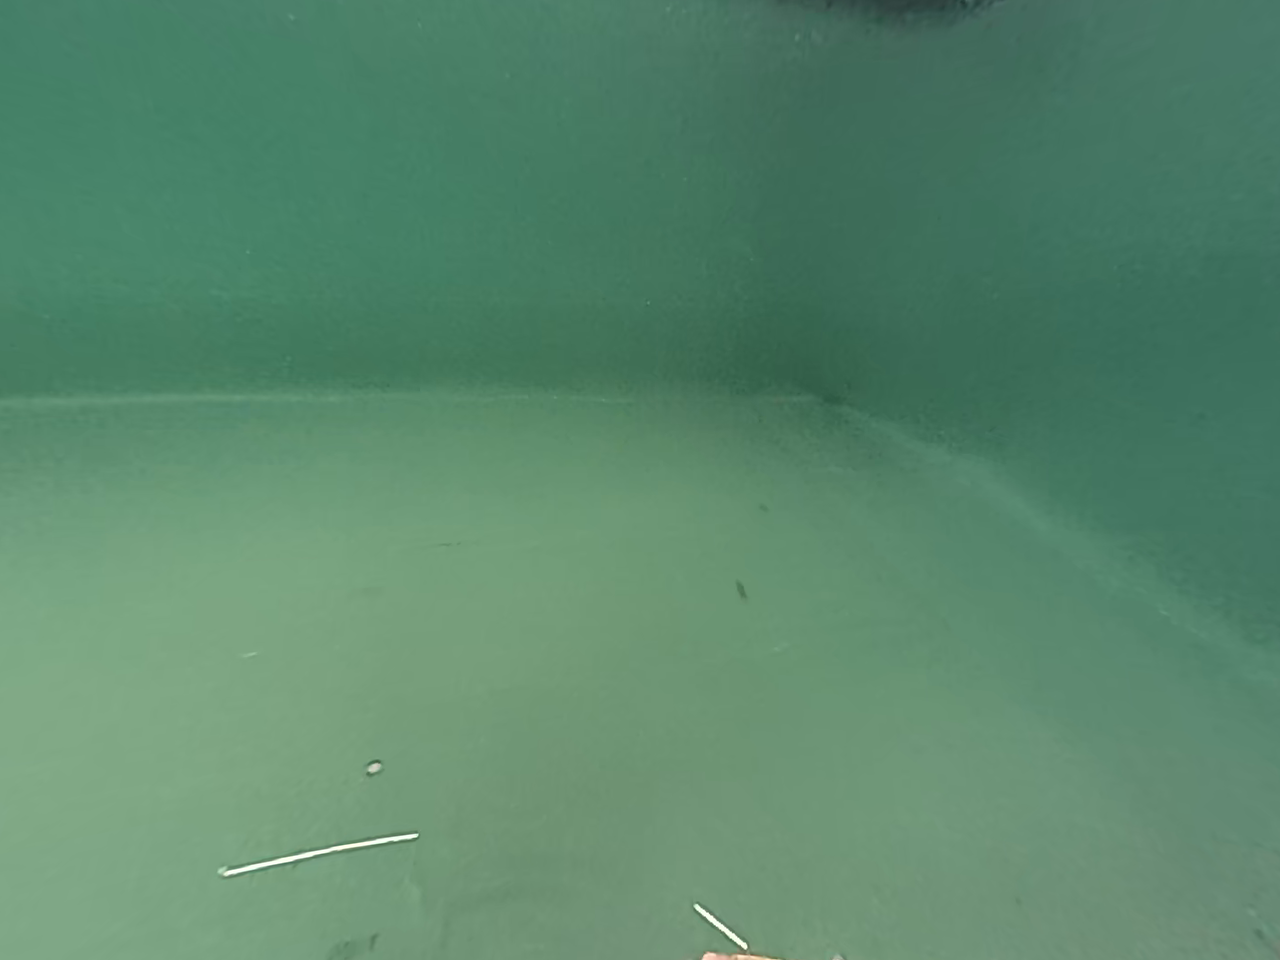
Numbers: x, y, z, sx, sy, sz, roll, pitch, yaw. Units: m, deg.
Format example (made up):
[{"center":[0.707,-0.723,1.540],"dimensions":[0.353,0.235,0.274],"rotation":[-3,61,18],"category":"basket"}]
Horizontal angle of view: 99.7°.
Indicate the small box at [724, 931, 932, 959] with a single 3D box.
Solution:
[{"center":[0.128,0.381,0.296],"dimensions":[0.168,0.176,0.179],"rotation":[3,43,6],"category":"small box"}]
